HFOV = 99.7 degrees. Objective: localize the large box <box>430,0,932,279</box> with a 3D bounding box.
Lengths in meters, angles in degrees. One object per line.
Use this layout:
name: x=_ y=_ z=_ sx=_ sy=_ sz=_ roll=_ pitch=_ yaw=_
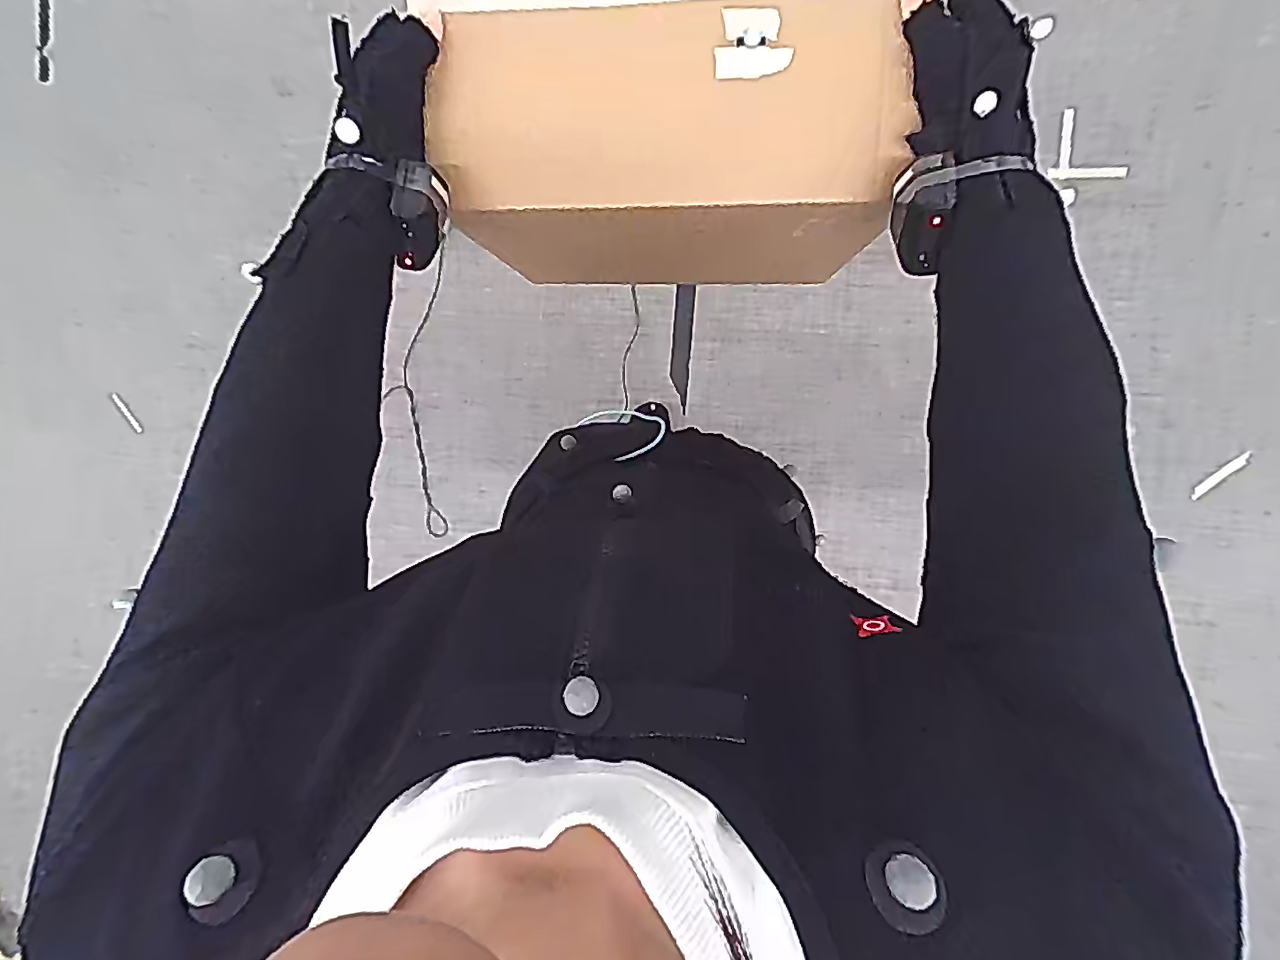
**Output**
large box: x=0.036 y=-0.409 z=0.572 sx=0.408 sy=0.320 sz=0.320 roll=1 pitch=99 yaw=4
